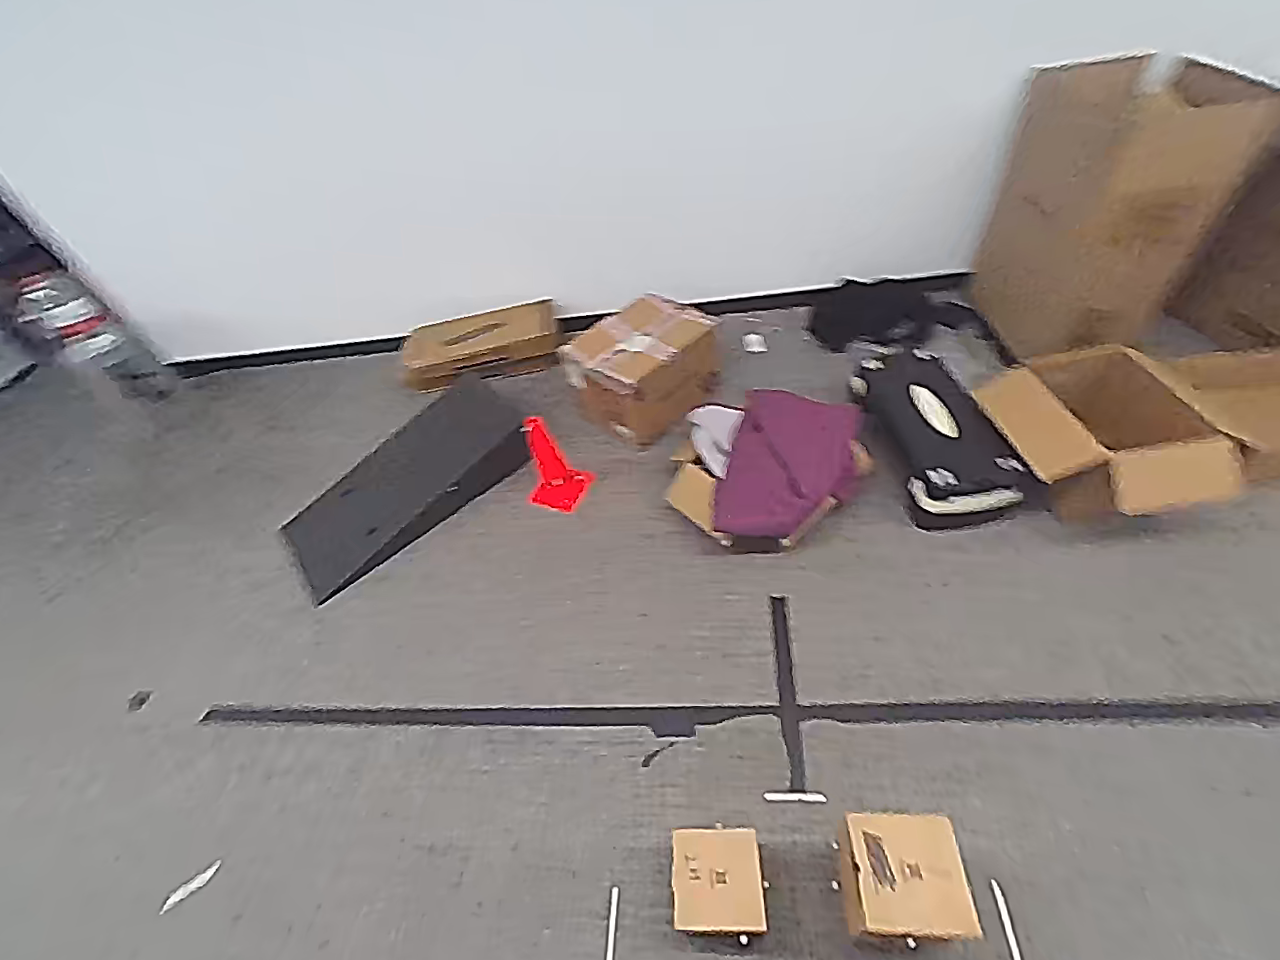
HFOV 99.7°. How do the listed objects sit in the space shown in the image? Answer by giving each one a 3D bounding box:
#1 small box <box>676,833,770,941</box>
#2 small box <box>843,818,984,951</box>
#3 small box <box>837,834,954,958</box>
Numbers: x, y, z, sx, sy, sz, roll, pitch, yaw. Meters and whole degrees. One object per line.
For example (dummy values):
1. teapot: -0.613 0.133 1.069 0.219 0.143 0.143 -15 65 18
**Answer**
1. small box: 0.169 0.845 1.122 0.179 0.176 0.168 -5 47 8
2. small box: 0.464 0.714 0.954 0.179 0.176 0.168 -3 48 9
3. small box: 0.494 0.824 1.074 0.168 0.176 0.179 -2 49 10
